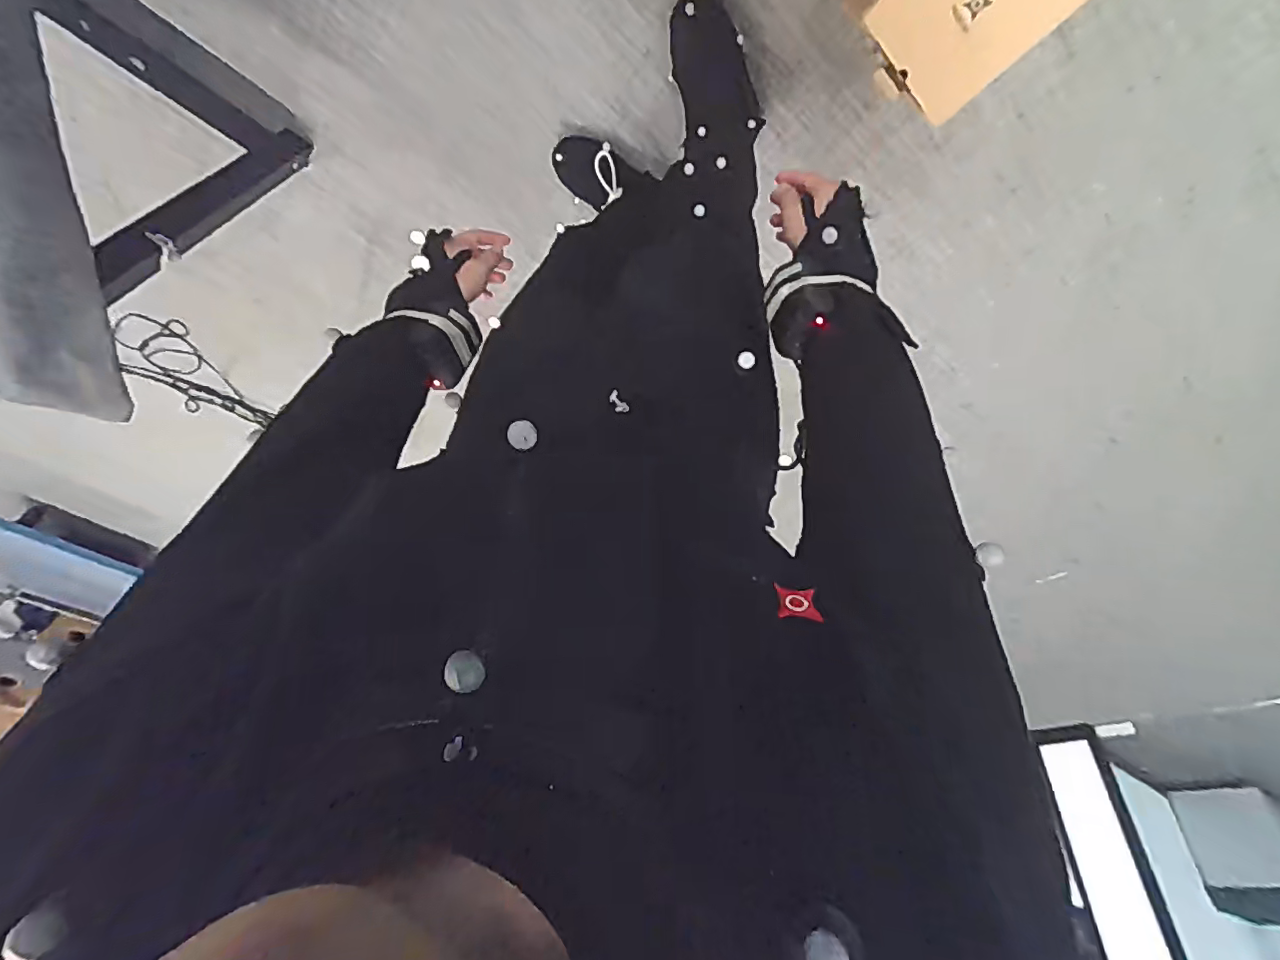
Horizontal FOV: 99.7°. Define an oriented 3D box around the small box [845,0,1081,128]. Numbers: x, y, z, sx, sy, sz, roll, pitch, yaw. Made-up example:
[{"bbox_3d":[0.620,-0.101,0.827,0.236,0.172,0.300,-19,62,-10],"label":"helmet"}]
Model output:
[{"bbox_3d":[0.371,-0.579,0.644,0.168,0.176,0.179,33,134,-26],"label":"small box"}]
